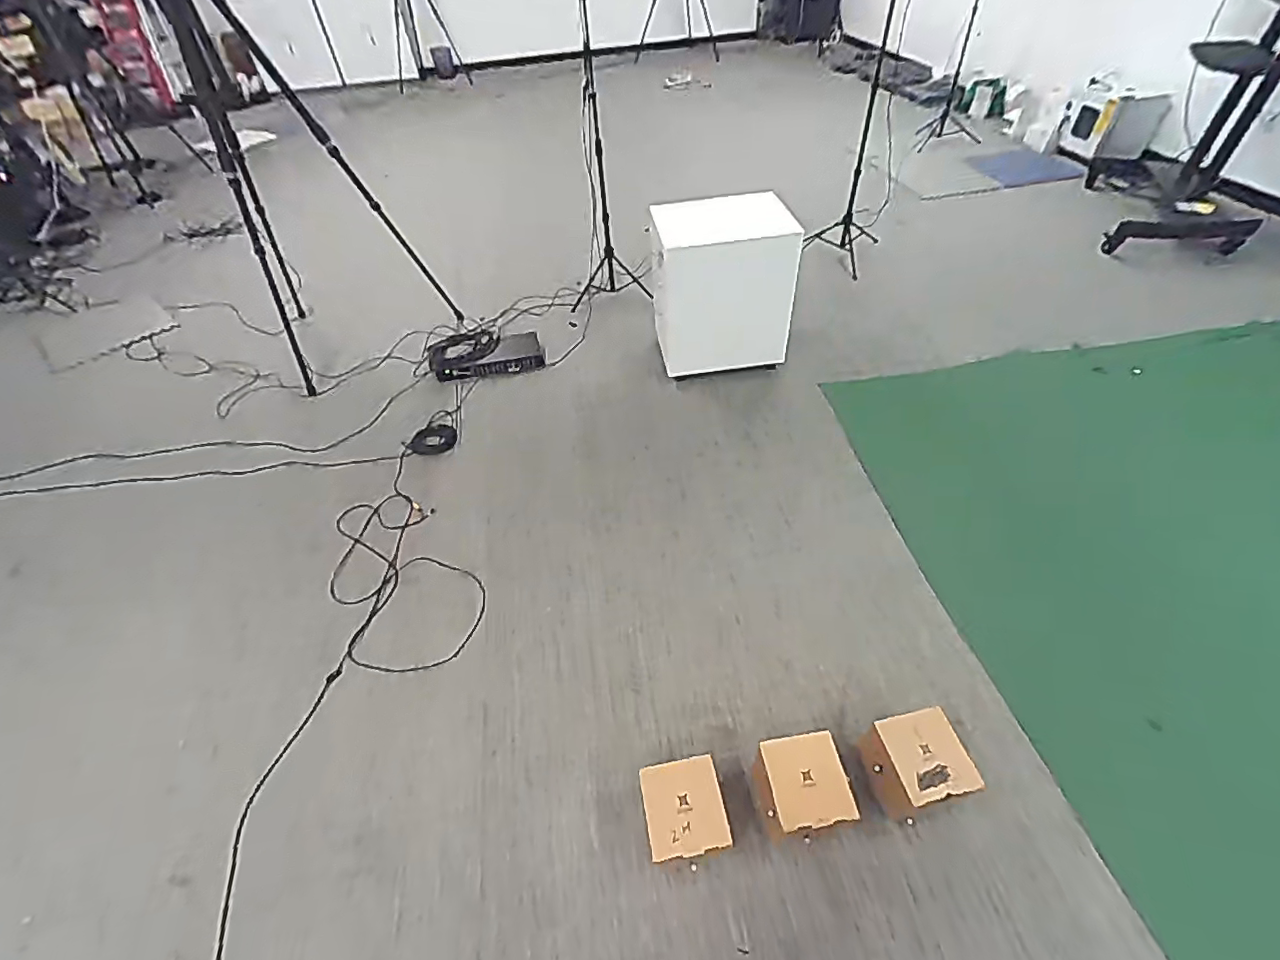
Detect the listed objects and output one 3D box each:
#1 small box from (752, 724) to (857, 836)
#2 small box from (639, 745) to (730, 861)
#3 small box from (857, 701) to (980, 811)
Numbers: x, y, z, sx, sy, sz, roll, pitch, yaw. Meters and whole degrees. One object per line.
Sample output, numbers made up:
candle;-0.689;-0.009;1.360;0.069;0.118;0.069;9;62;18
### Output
small box;0.358;0.678;1.219;0.168;0.176;0.179;-8;48;-3
small box;0.094;0.719;1.200;0.168;0.176;0.179;-10;49;-3
small box;0.623;0.635;1.235;0.168;0.176;0.179;-10;48;-5
